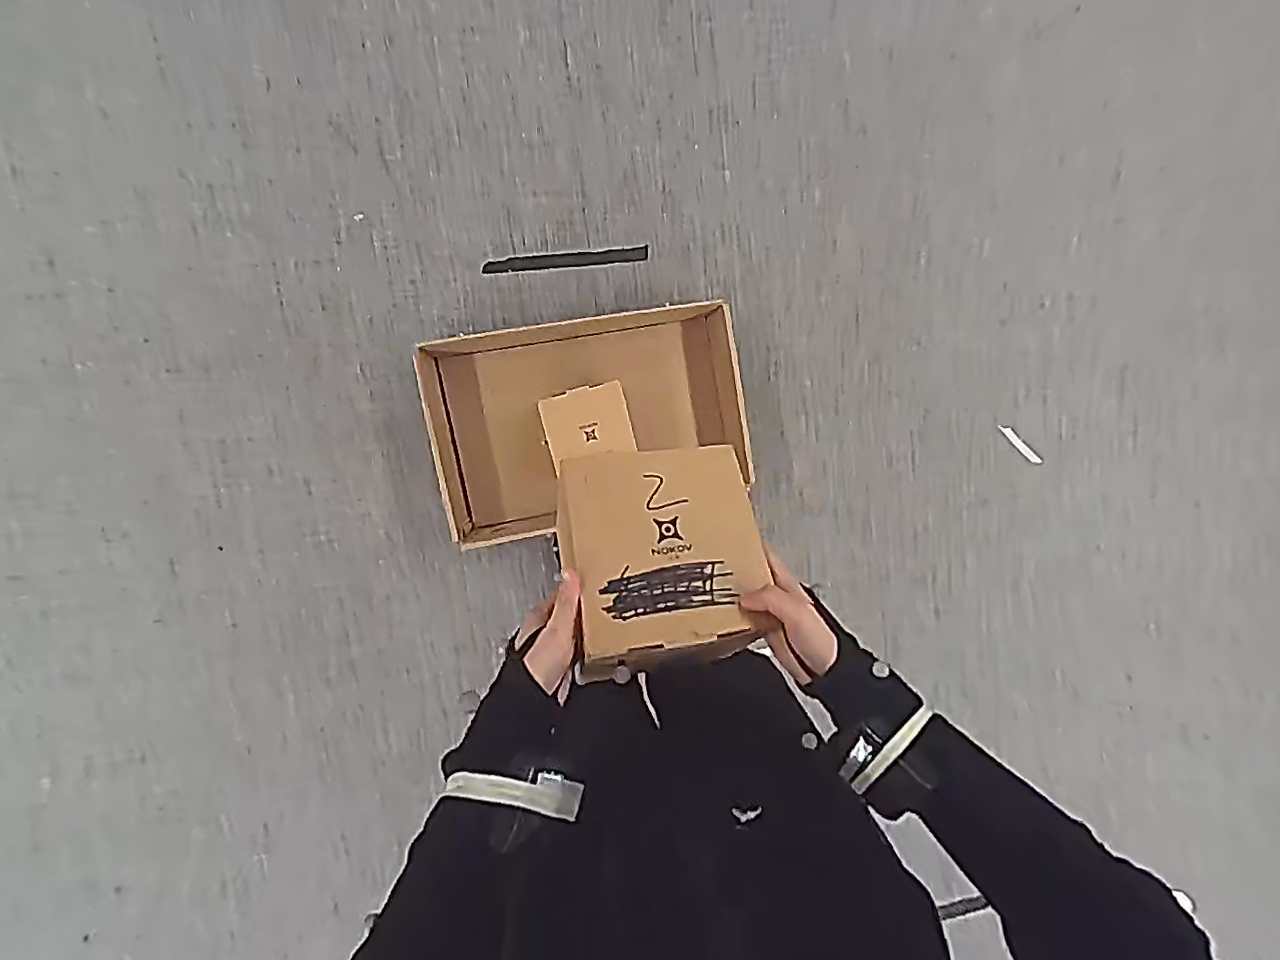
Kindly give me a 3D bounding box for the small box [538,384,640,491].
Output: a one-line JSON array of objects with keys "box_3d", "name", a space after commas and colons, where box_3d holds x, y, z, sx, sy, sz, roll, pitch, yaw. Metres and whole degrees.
[{"box_3d": [-0.110, -0.089, 1.118, 0.168, 0.176, 0.179, -16, 99, -7], "name": "small box"}]
